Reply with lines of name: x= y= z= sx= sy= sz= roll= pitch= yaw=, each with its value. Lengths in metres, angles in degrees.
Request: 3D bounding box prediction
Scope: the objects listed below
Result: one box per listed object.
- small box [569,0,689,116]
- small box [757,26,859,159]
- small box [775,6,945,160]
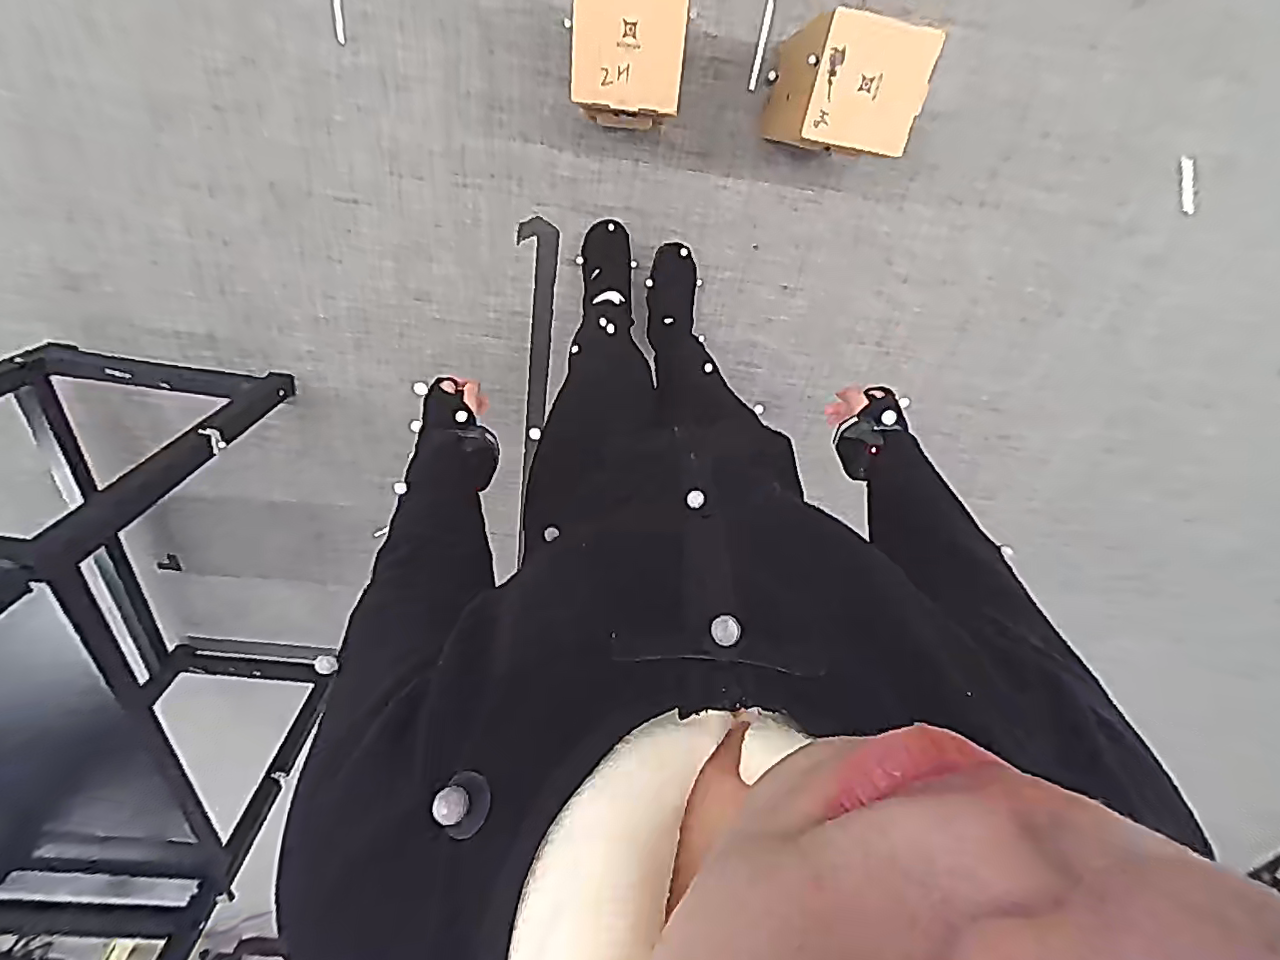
small box: x=-0.021 y=-0.685 z=0.845 sx=0.168 sy=0.176 sz=0.179 roll=4 pitch=123 yaw=-4
small box: x=0.342 y=-0.728 z=1.028 sx=0.179 sy=0.176 sz=0.168 roll=9 pitch=122 yaw=-7
small box: x=0.346 y=-0.641 z=0.890 sx=0.179 sy=0.176 sz=0.168 roll=8 pitch=122 yaw=-7
